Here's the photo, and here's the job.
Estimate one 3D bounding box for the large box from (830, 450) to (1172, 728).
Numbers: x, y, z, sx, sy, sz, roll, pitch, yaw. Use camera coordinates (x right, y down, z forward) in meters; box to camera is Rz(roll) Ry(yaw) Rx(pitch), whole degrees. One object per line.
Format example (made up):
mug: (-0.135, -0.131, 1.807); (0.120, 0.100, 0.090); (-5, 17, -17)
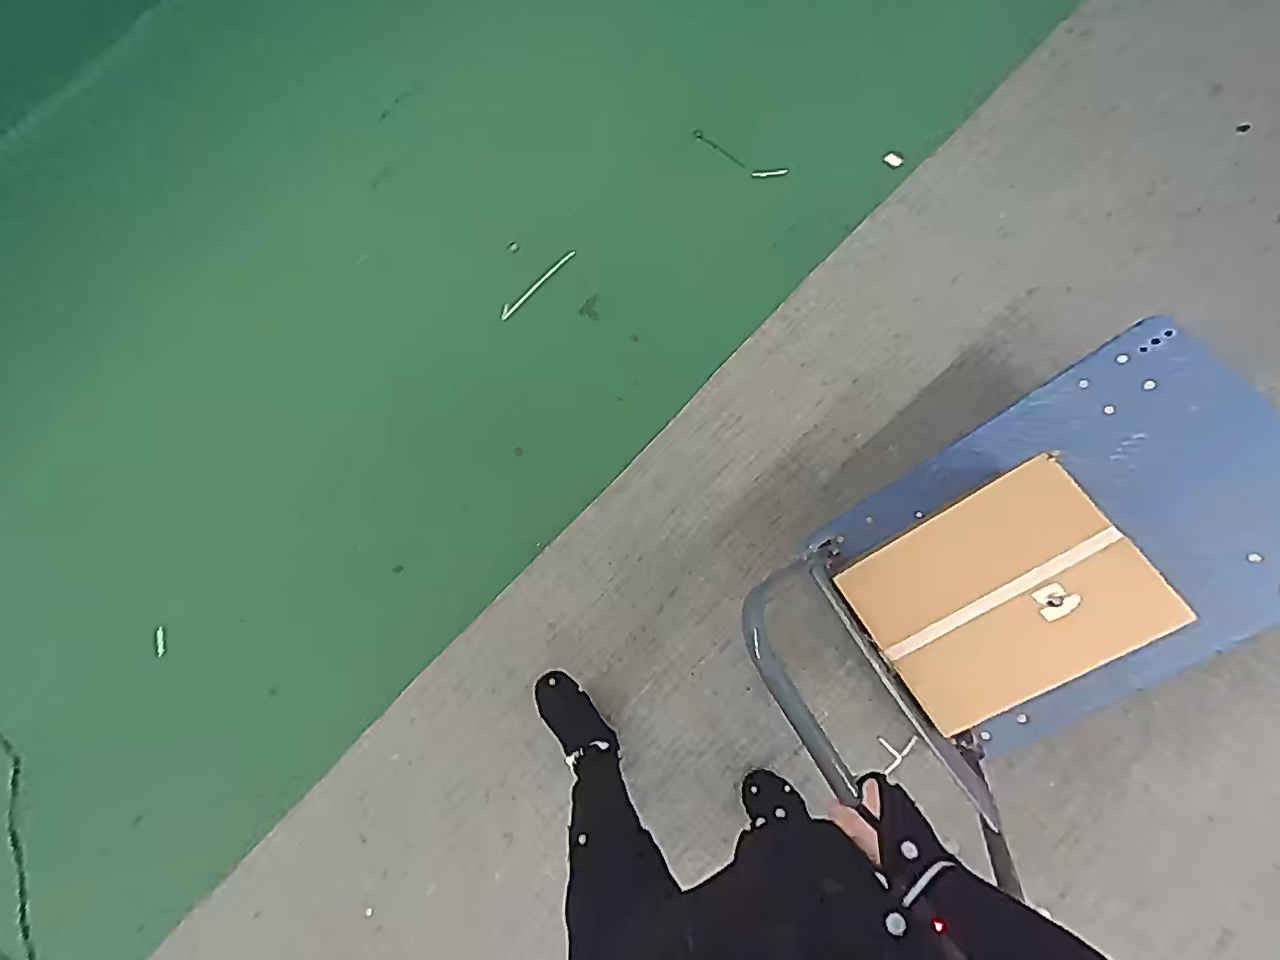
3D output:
large box: (0.634, 0.202, 1.046); (0.408, 0.320, 0.320); (-36, 73, 15)
